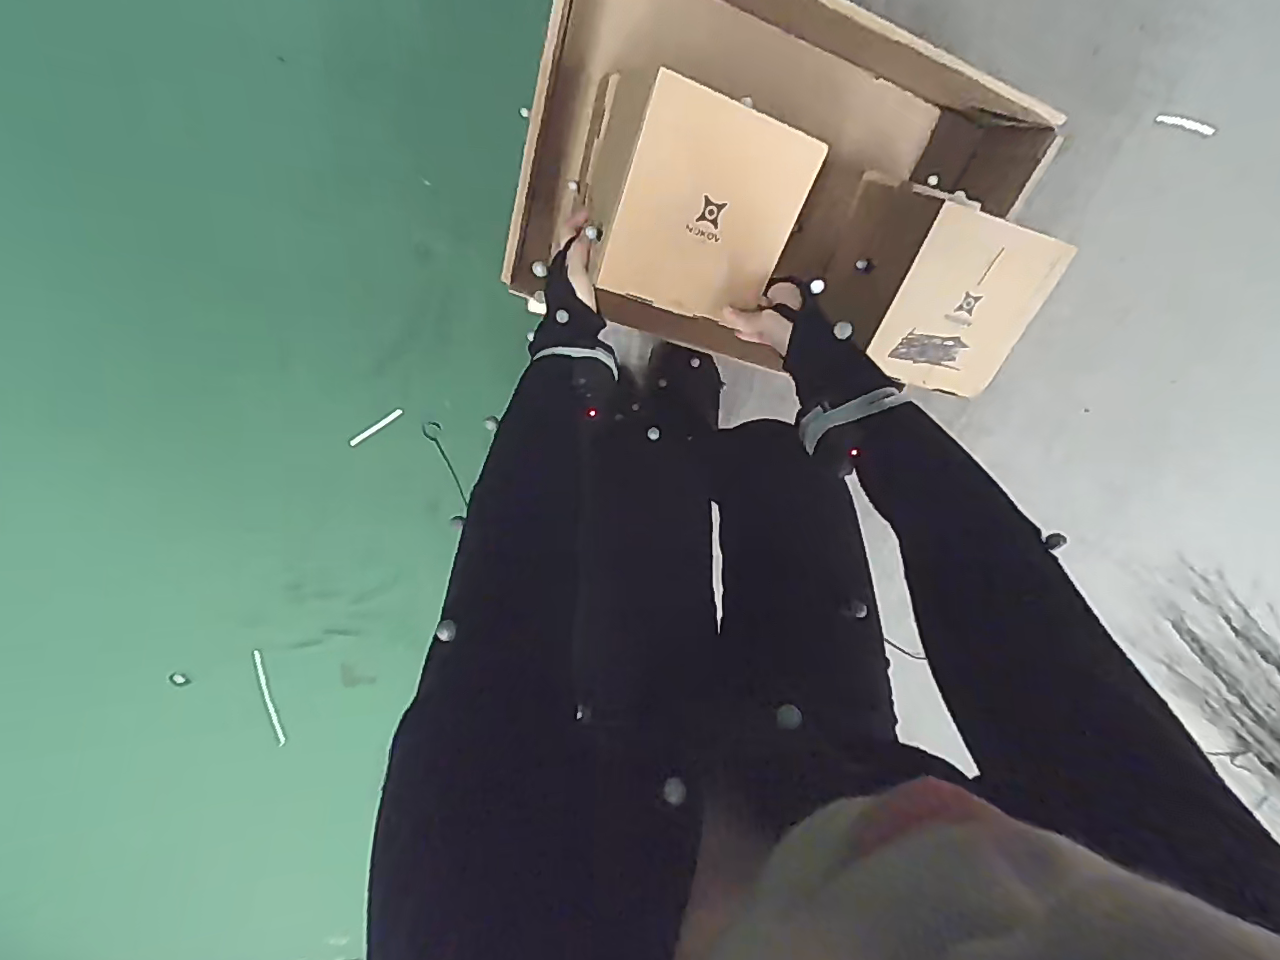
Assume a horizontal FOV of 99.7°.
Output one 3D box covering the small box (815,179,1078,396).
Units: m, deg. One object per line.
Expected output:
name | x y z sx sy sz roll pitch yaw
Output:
small box | 0.326 -0.224 0.623 0.168 0.176 0.179 10 122 -13
